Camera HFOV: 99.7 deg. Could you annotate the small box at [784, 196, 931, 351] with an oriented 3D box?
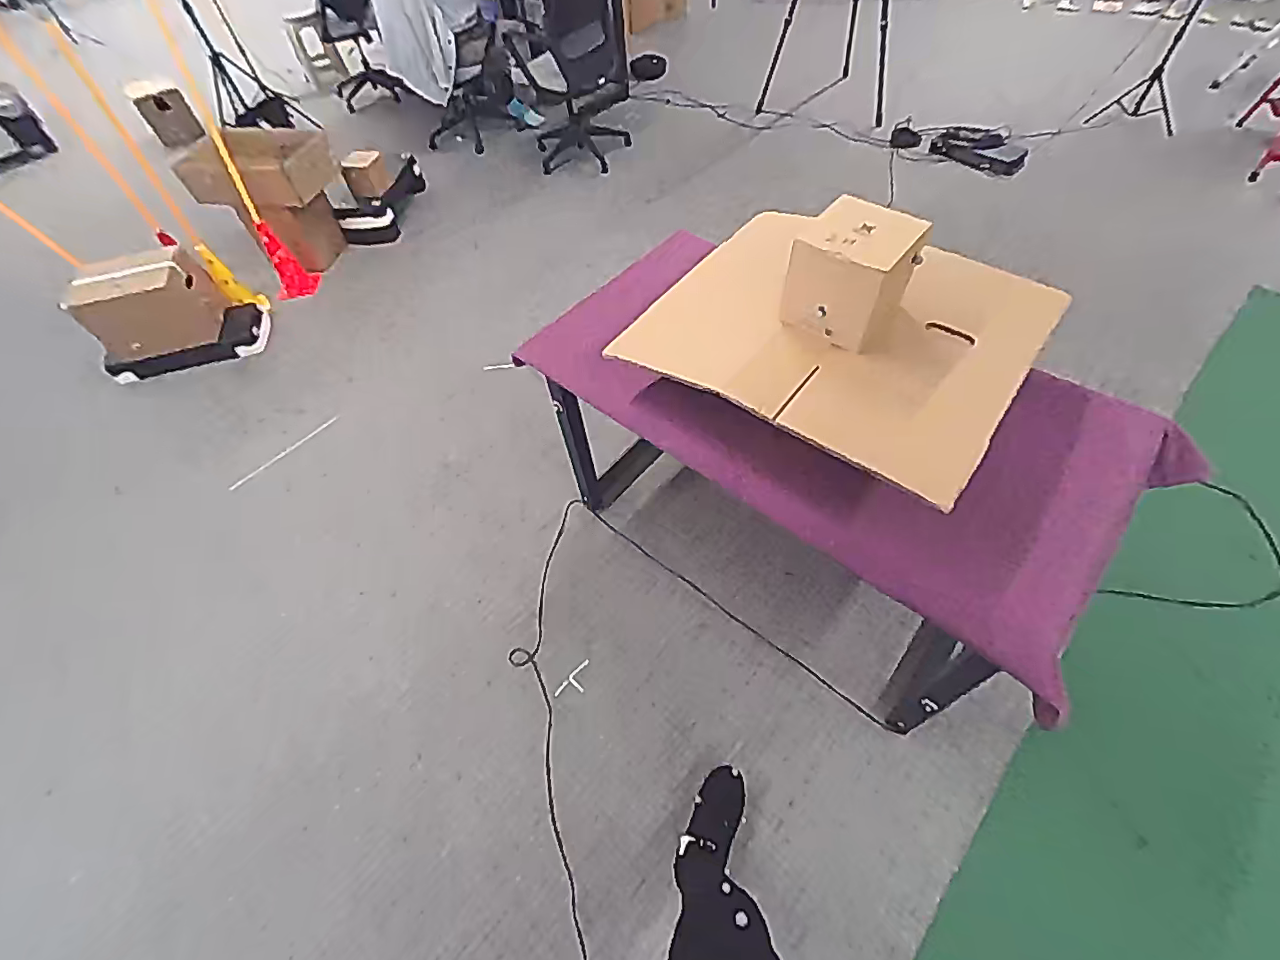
[{"bbox_3d":[0.377,-0.367,0.968,0.168,0.176,0.179,34,64,24],"label":"small box"}]
